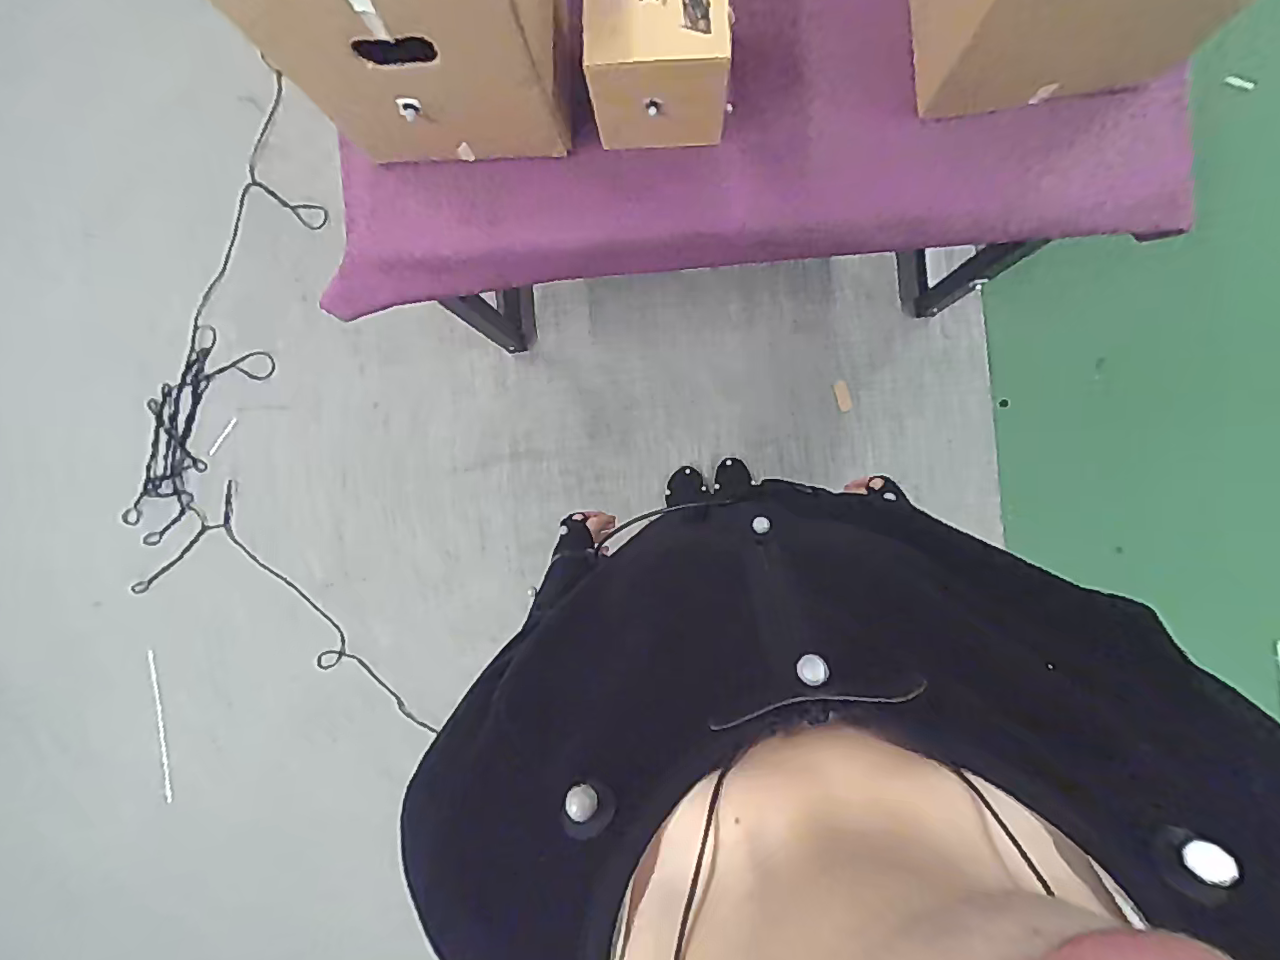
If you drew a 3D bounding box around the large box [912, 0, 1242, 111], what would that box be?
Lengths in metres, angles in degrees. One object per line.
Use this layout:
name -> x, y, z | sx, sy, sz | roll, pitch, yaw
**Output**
large box -> 0.513, -0.725, 0.598 | 0.320, 0.320, 0.408 | -5, 91, 7
